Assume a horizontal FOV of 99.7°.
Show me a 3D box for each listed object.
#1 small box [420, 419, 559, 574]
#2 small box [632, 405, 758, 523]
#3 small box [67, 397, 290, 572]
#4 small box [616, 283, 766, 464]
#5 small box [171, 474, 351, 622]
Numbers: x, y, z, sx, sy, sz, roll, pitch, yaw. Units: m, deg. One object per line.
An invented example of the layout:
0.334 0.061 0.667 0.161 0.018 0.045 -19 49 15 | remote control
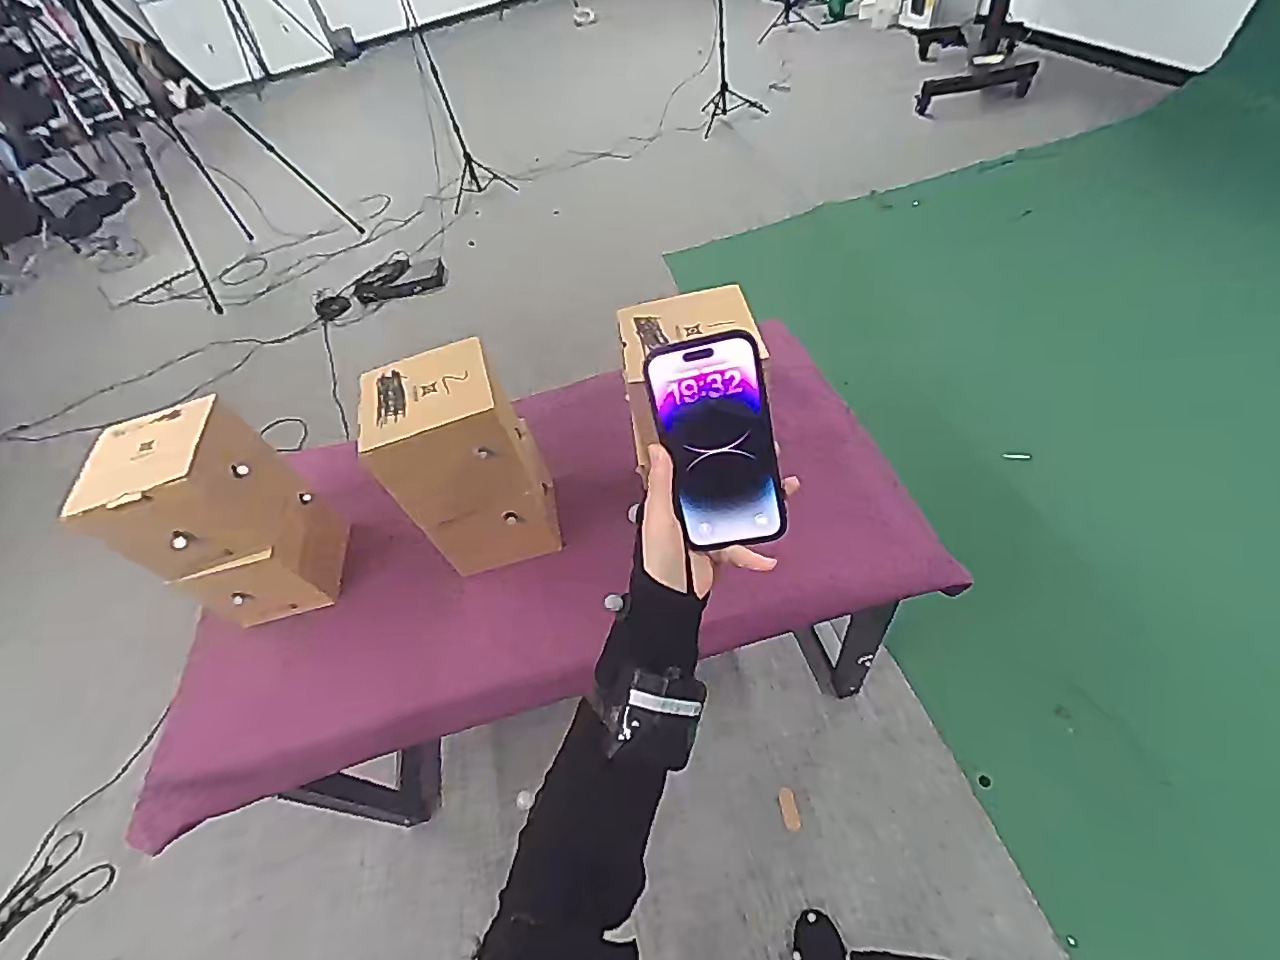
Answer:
-0.240 0.031 0.899 0.179 0.176 0.168 -16 50 0 | small box
0.091 -0.050 0.891 0.179 0.176 0.168 -11 50 5 | small box
-0.651 0.015 0.794 0.168 0.176 0.179 -19 51 -3 | small box
0.073 -0.142 0.755 0.179 0.176 0.168 -11 50 3 | small box
-0.620 0.123 0.914 0.168 0.176 0.179 -15 50 0 | small box
